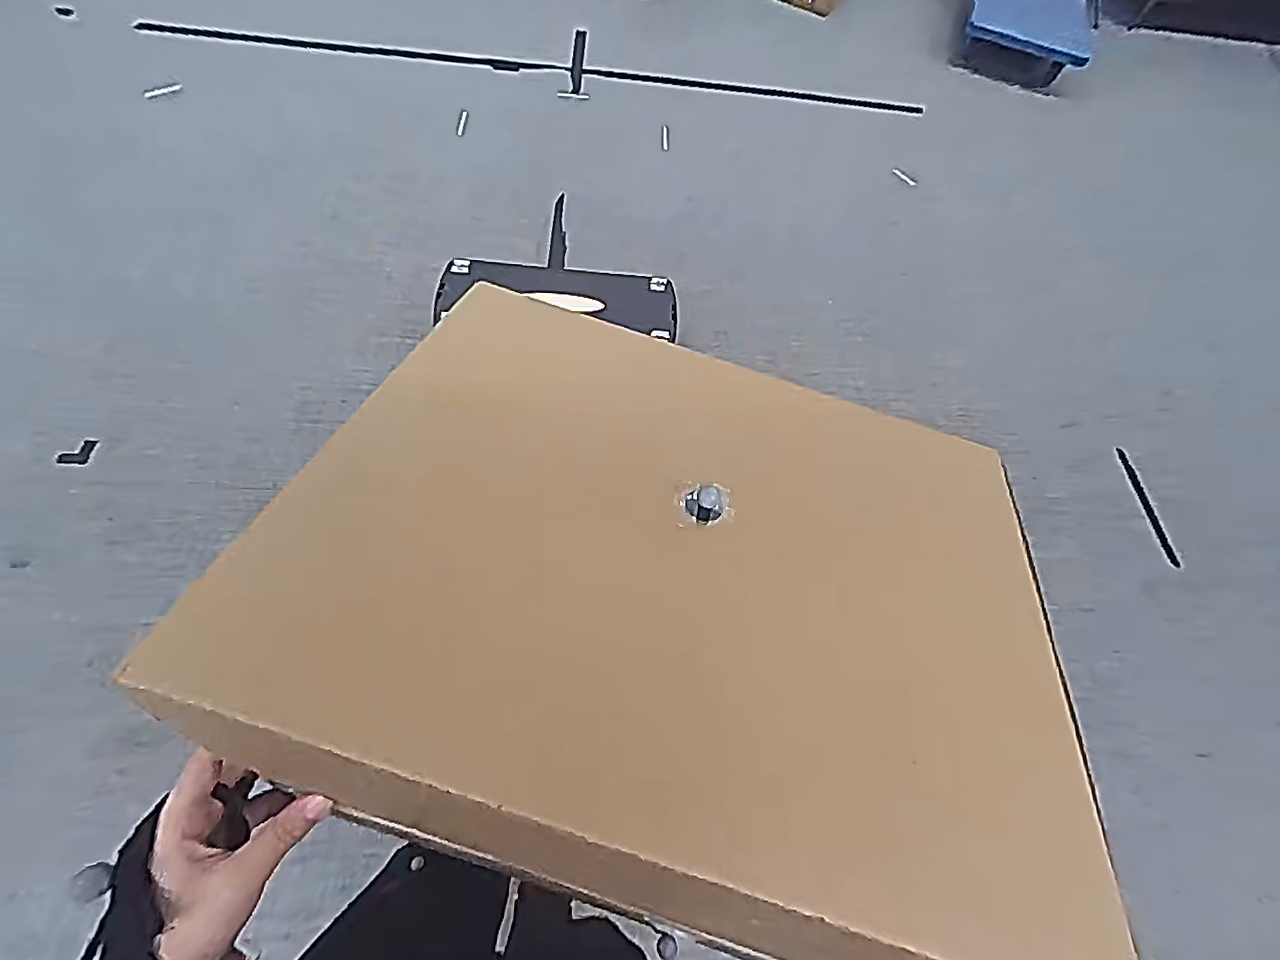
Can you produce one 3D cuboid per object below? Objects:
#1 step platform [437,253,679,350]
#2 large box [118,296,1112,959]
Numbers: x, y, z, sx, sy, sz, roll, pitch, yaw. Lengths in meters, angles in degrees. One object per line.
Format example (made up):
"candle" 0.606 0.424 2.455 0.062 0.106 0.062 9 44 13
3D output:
"step platform" -0.226 -0.452 1.579 0.684 0.204 0.286 8 63 -4
"large box" -0.007 0.113 0.412 0.408 0.320 0.320 16 51 1
